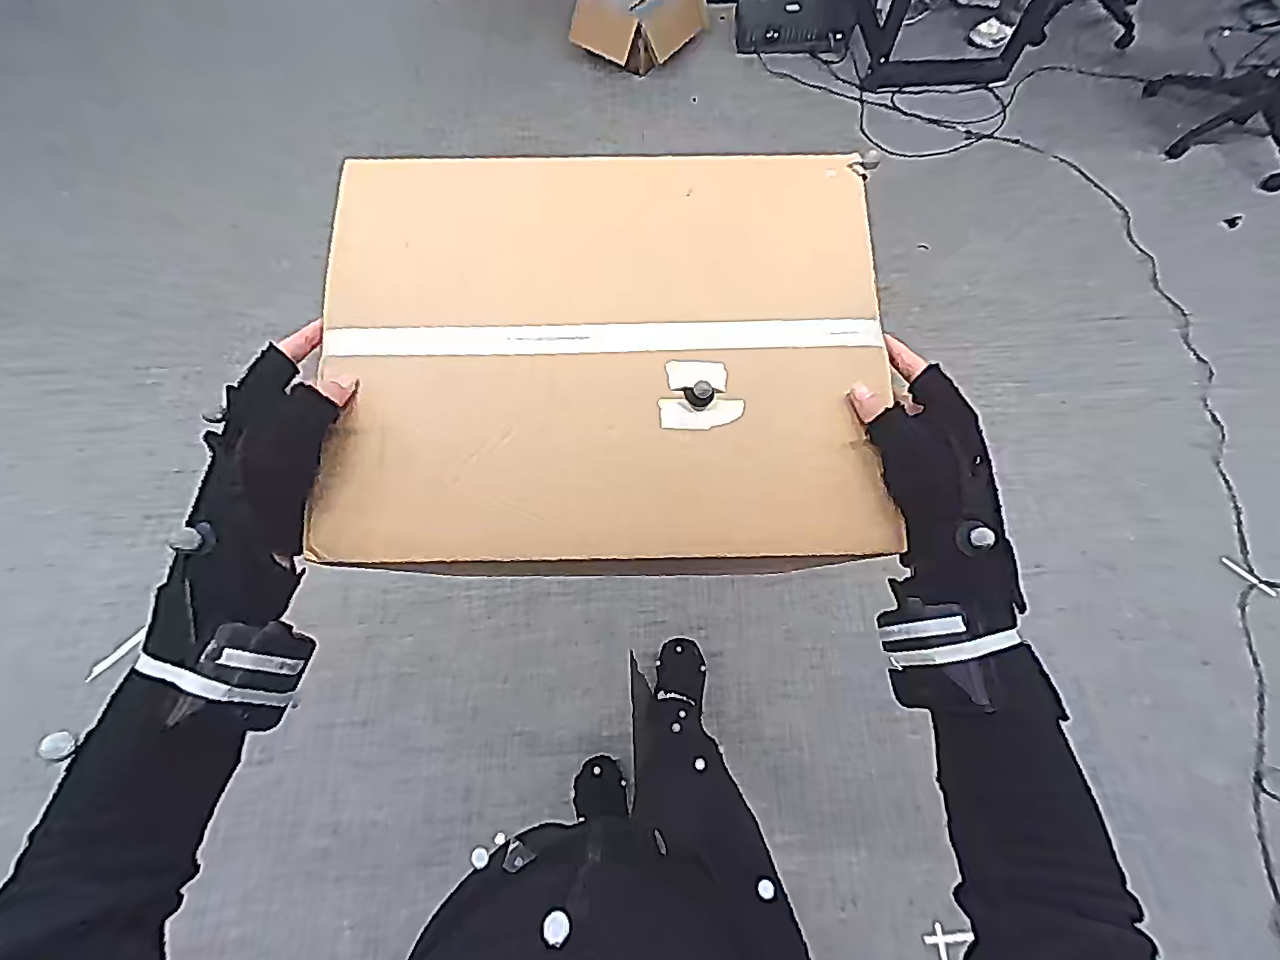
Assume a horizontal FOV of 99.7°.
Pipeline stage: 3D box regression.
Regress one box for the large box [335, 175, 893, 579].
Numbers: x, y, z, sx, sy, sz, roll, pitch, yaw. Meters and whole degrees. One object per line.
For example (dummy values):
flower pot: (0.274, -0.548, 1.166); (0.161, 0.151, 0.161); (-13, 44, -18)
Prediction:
large box: (-0.025, -0.066, 0.557); (0.408, 0.320, 0.320); (-1, 79, -1)
